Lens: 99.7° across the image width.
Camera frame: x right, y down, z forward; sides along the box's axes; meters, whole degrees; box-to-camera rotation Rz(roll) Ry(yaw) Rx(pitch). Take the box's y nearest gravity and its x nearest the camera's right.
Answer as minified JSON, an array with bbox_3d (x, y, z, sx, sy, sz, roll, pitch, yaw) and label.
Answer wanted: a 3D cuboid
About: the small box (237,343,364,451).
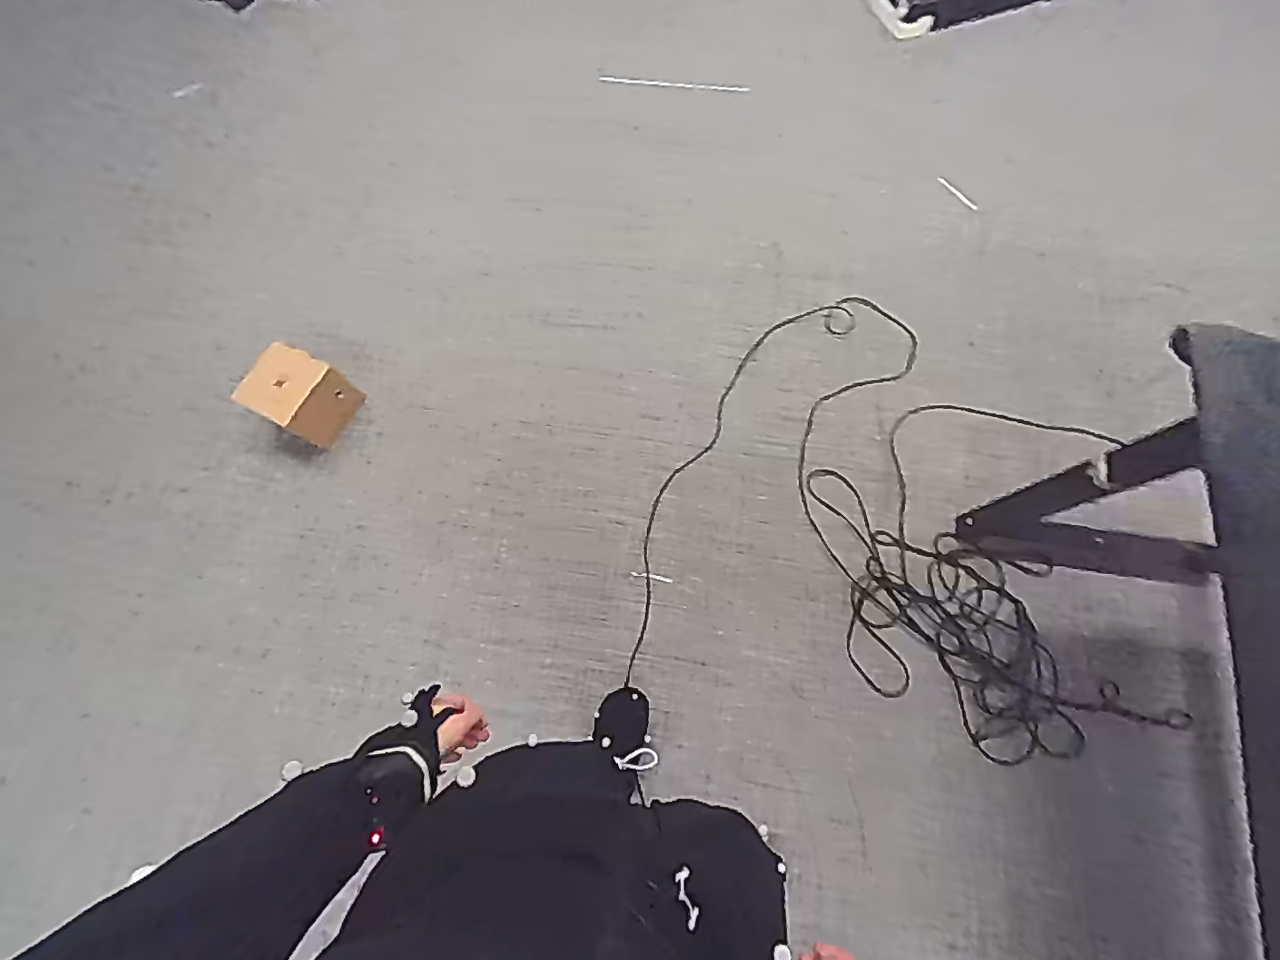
[{"bbox_3d":[-0.819,-0.198,1.330,0.168,0.176,0.179,25,76,10],"label":"small box"}]
